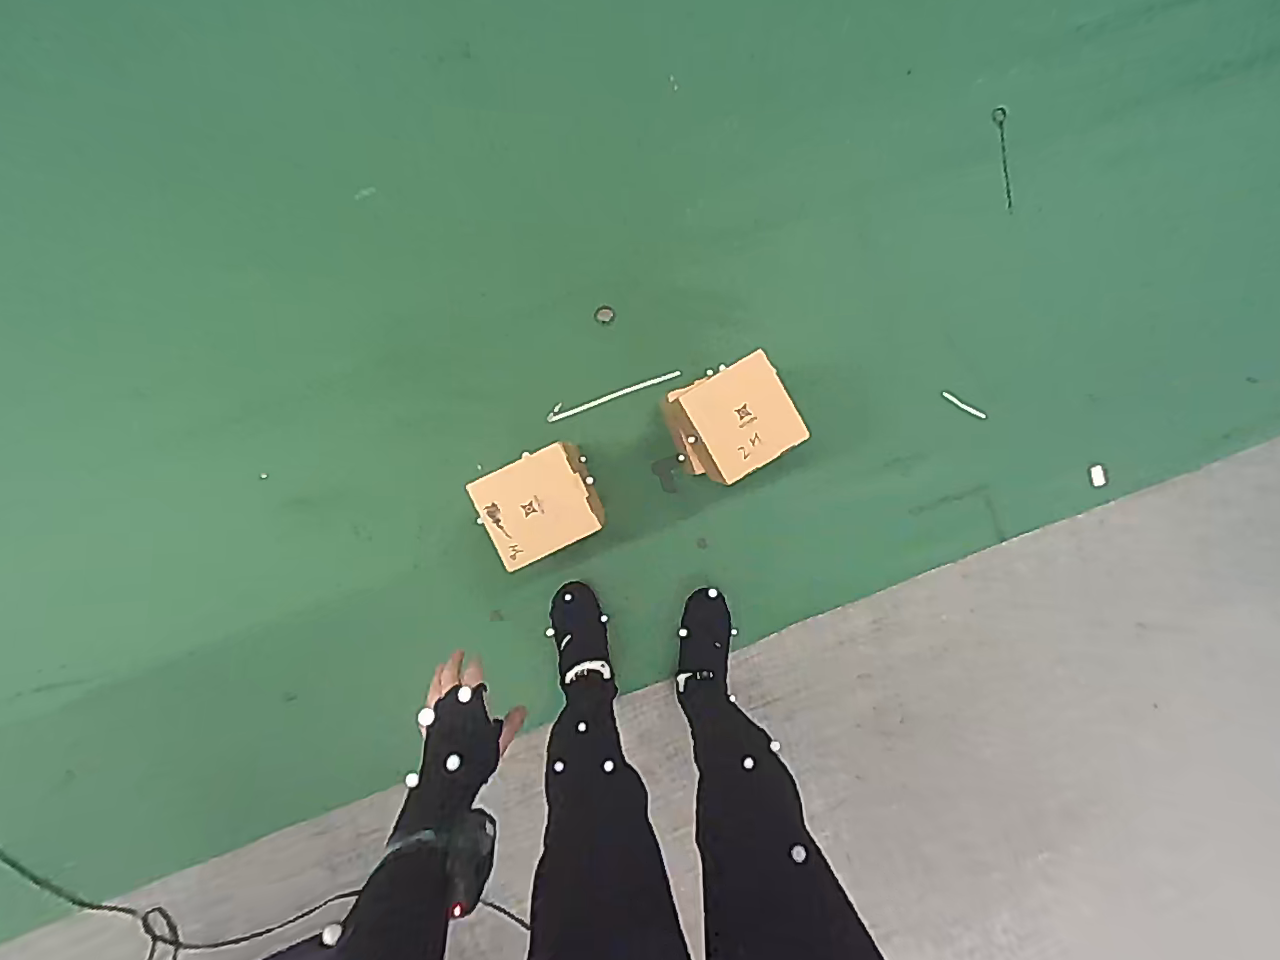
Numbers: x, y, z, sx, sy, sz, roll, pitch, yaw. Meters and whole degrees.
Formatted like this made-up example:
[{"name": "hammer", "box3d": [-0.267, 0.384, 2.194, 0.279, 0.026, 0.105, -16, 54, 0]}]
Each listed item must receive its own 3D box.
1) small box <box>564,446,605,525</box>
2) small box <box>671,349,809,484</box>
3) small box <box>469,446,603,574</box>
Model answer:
[{"name": "small box", "box3d": [-0.180, 0.037, 1.144, 0.168, 0.176, 0.179, -23, 93, -1]}, {"name": "small box", "box3d": [0.170, -0.110, 0.985, 0.168, 0.176, 0.179, -31, 95, 0]}, {"name": "small box", "box3d": [-0.178, 0.046, 0.980, 0.179, 0.176, 0.168, -25, 93, -1]}]
